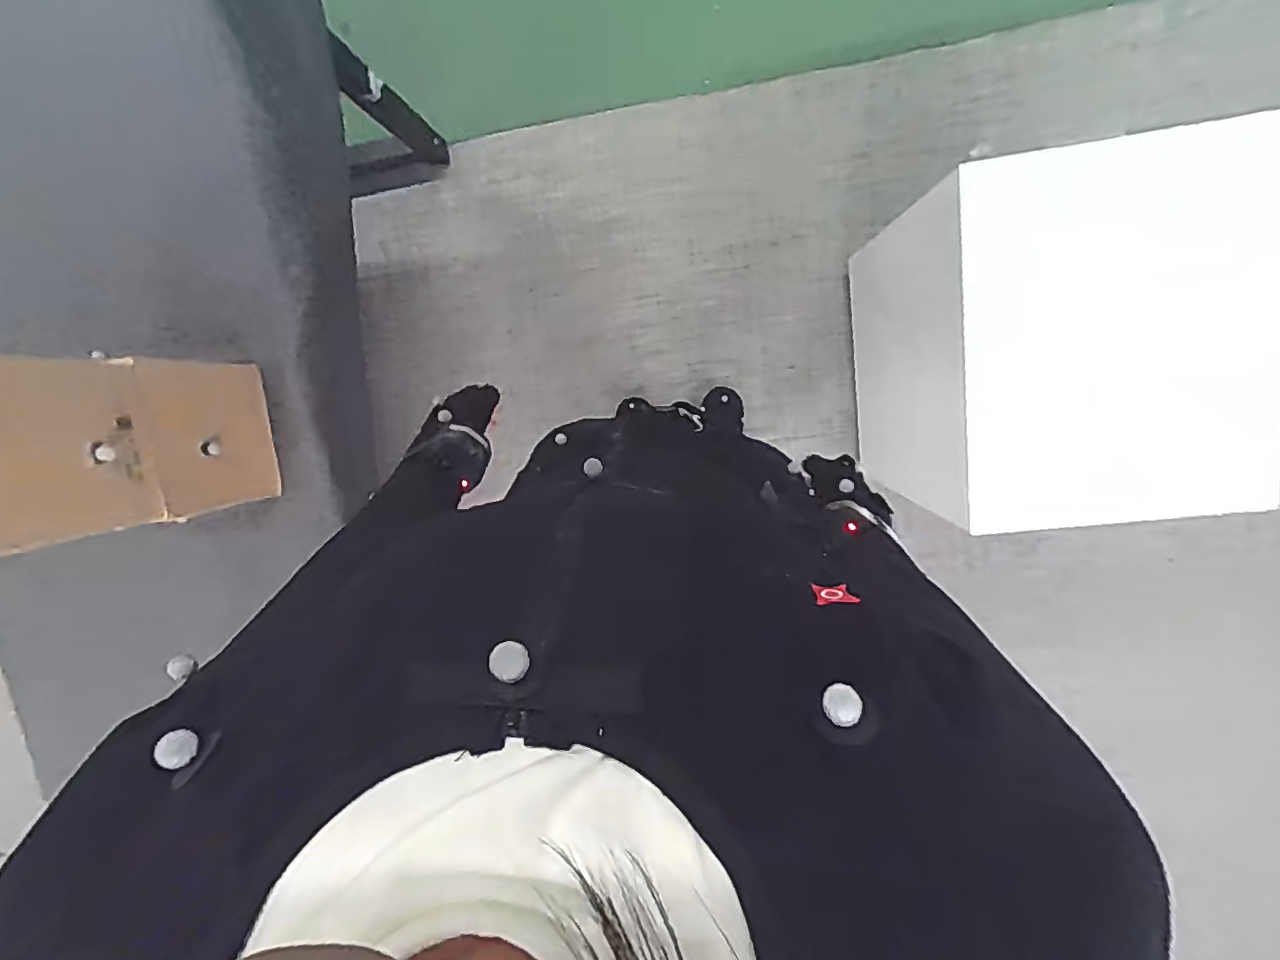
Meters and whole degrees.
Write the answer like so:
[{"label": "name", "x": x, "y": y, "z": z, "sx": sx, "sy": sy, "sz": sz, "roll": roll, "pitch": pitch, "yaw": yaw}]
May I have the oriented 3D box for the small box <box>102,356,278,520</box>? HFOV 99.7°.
[{"label": "small box", "x": -0.588, "y": -0.055, "z": 0.664, "sx": 0.168, "sy": 0.176, "sz": 0.179, "roll": -4, "pitch": 100, "yaw": 8}]
